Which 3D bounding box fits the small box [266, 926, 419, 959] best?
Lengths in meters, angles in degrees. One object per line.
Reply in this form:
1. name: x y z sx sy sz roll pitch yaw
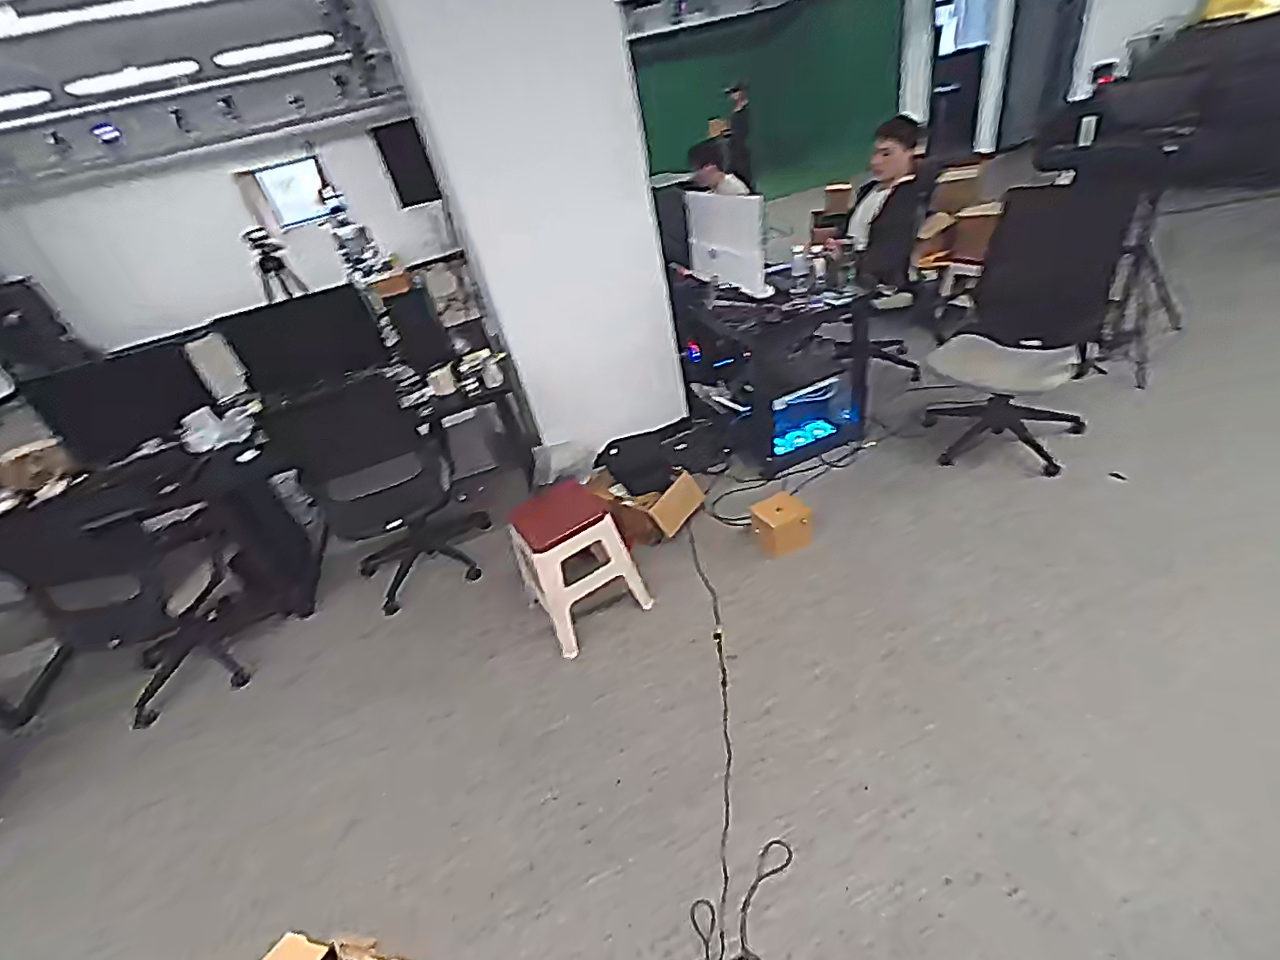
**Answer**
1. small box: -0.286 0.550 0.466 0.168 0.176 0.179 -4 15 19
